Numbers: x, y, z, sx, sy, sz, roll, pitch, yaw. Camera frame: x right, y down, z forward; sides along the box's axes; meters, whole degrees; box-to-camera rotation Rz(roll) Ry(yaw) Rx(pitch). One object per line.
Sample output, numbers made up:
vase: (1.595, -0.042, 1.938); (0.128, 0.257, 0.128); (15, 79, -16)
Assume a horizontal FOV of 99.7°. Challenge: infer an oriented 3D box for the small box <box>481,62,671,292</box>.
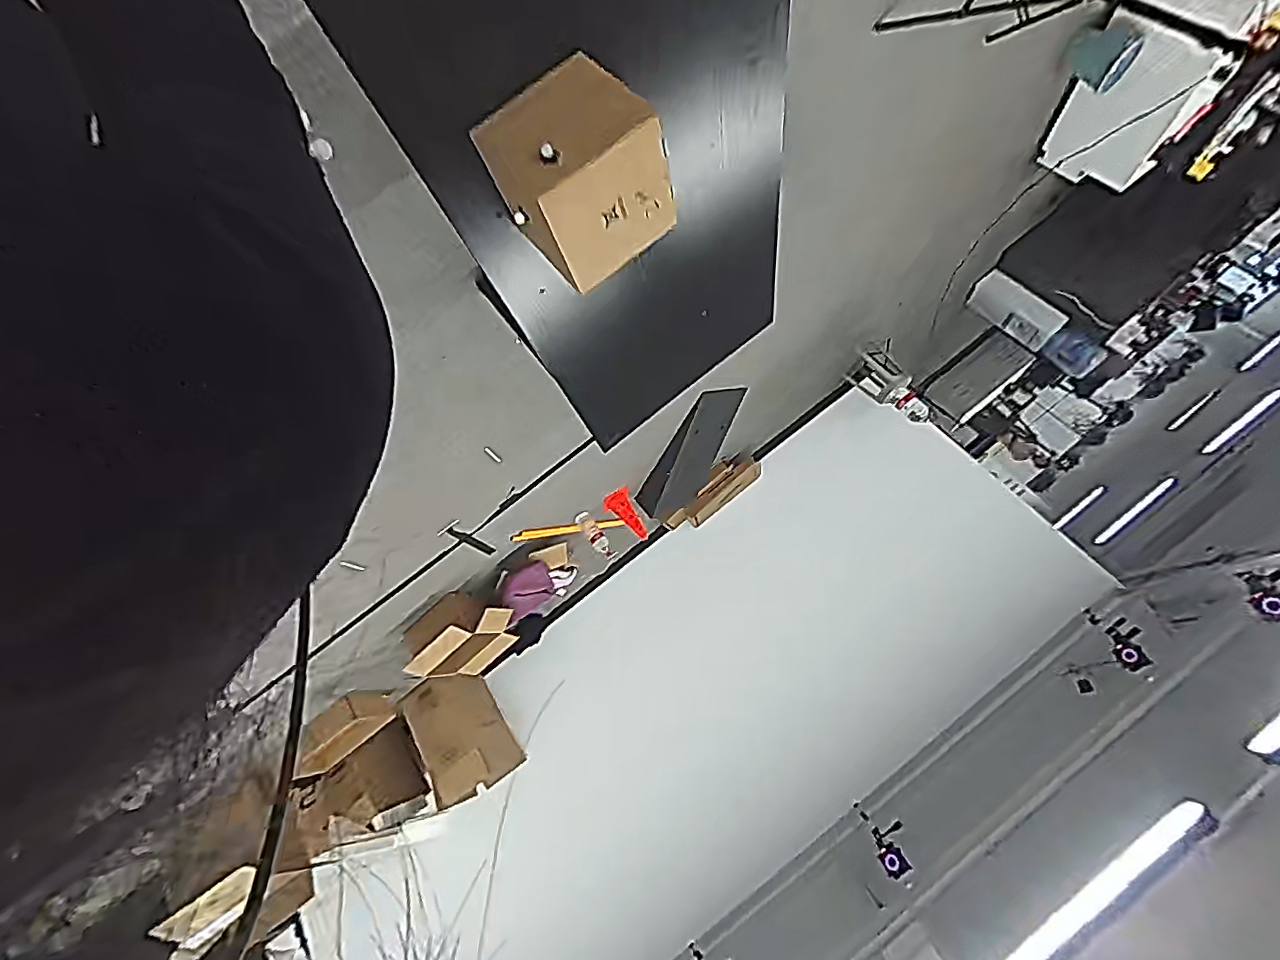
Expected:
small box: (-0.086, -0.399, 0.720); (0.179, 0.176, 0.168); (-39, 158, -3)
